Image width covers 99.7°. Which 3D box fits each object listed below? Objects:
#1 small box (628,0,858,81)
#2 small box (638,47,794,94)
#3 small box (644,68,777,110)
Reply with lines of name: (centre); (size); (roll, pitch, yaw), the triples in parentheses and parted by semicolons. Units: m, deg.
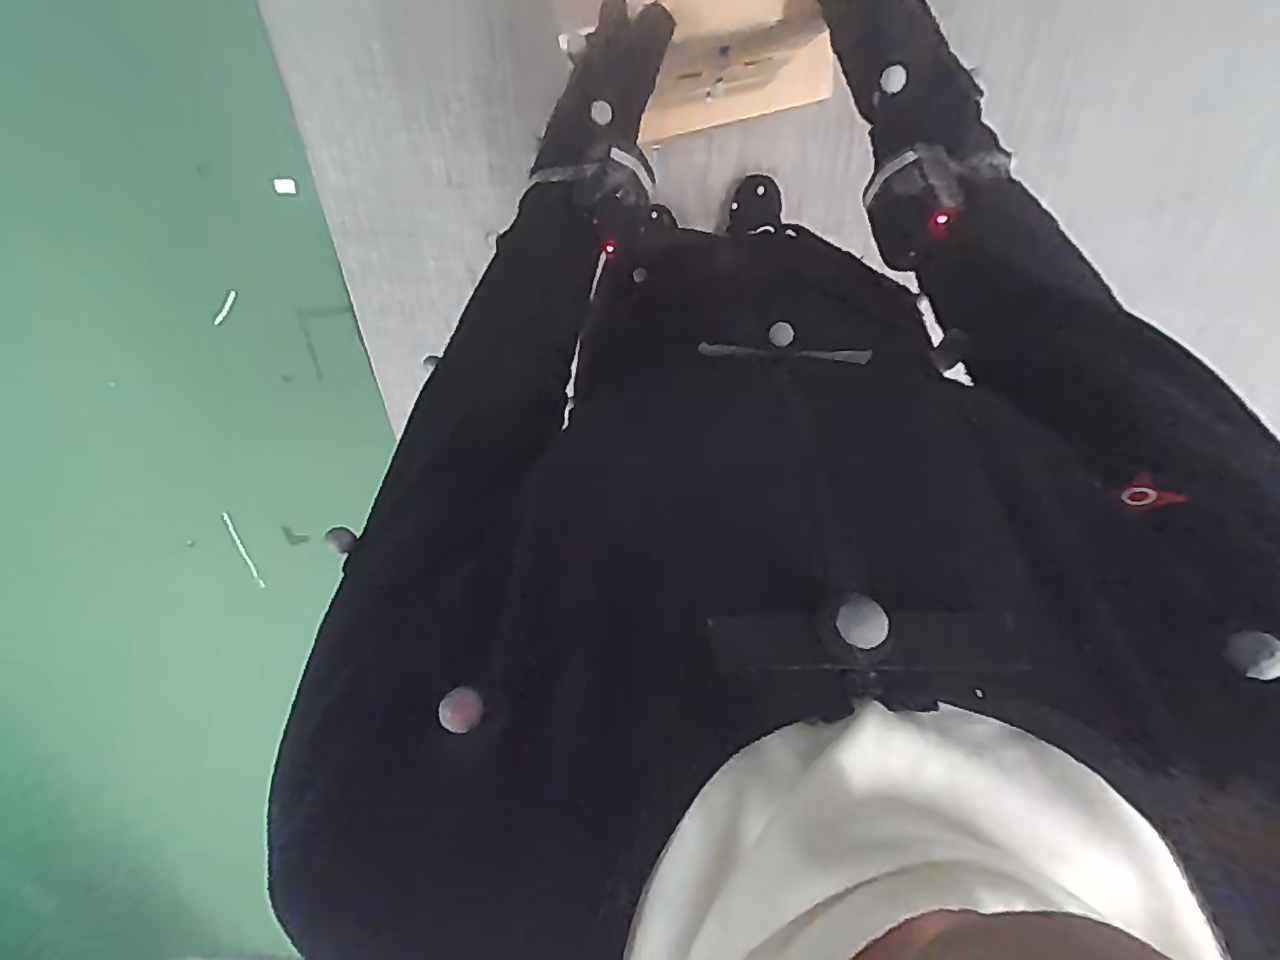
small box: (0.071, -0.460, 0.455); (0.179, 0.176, 0.168); (-8, 120, 7)
small box: (0.075, -0.545, 0.597); (0.168, 0.176, 0.179); (-6, 121, 8)
small box: (0.085, -0.622, 0.741); (0.179, 0.176, 0.168); (-7, 121, 7)
